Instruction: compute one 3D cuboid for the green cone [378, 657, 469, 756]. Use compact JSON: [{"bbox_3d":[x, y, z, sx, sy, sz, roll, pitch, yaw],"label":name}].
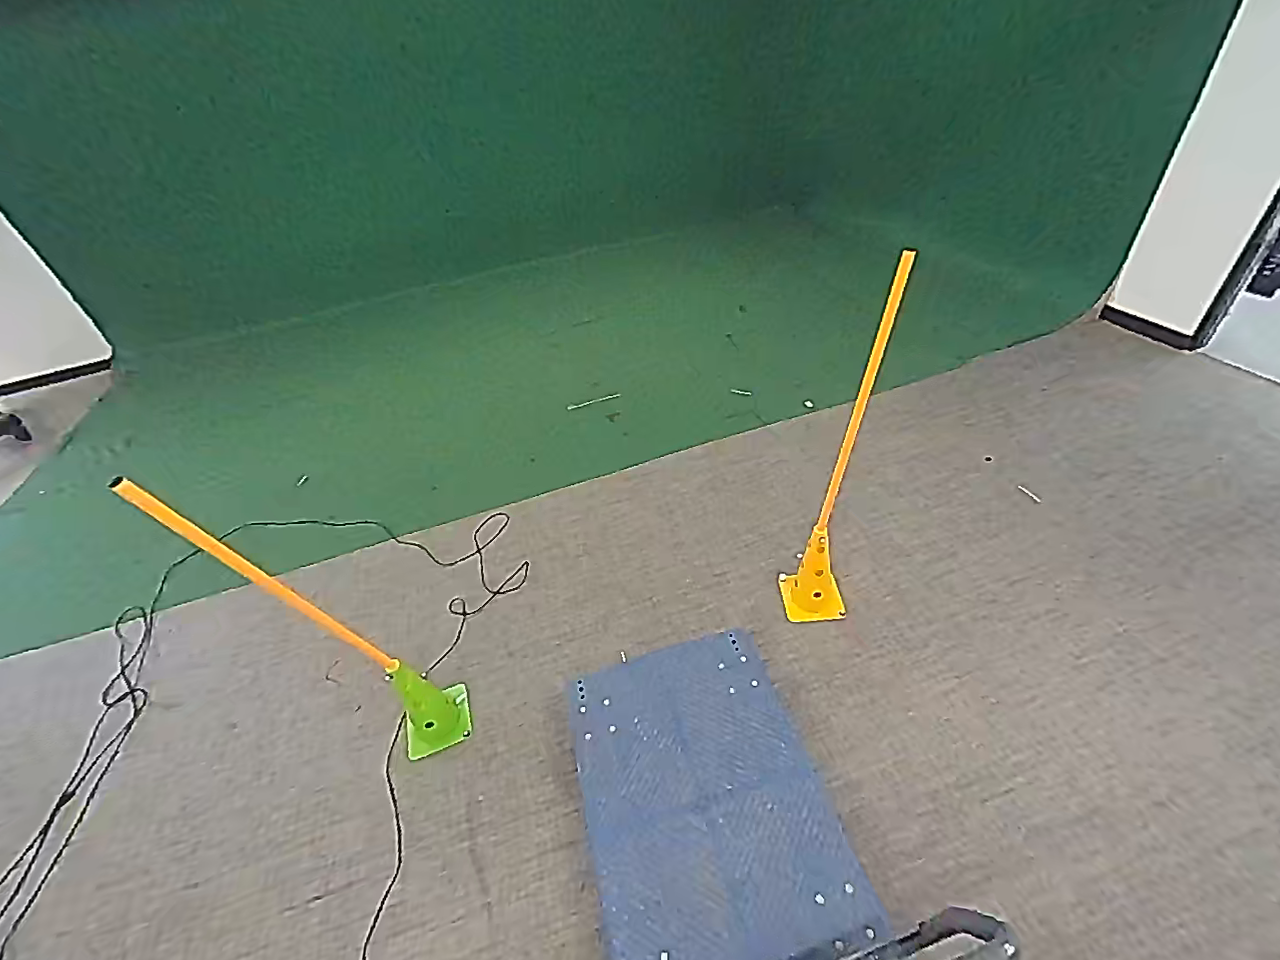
[{"bbox_3d":[-0.687,0.640,1.638,0.202,0.368,0.200,-21,42,-10],"label":"green cone"}]
